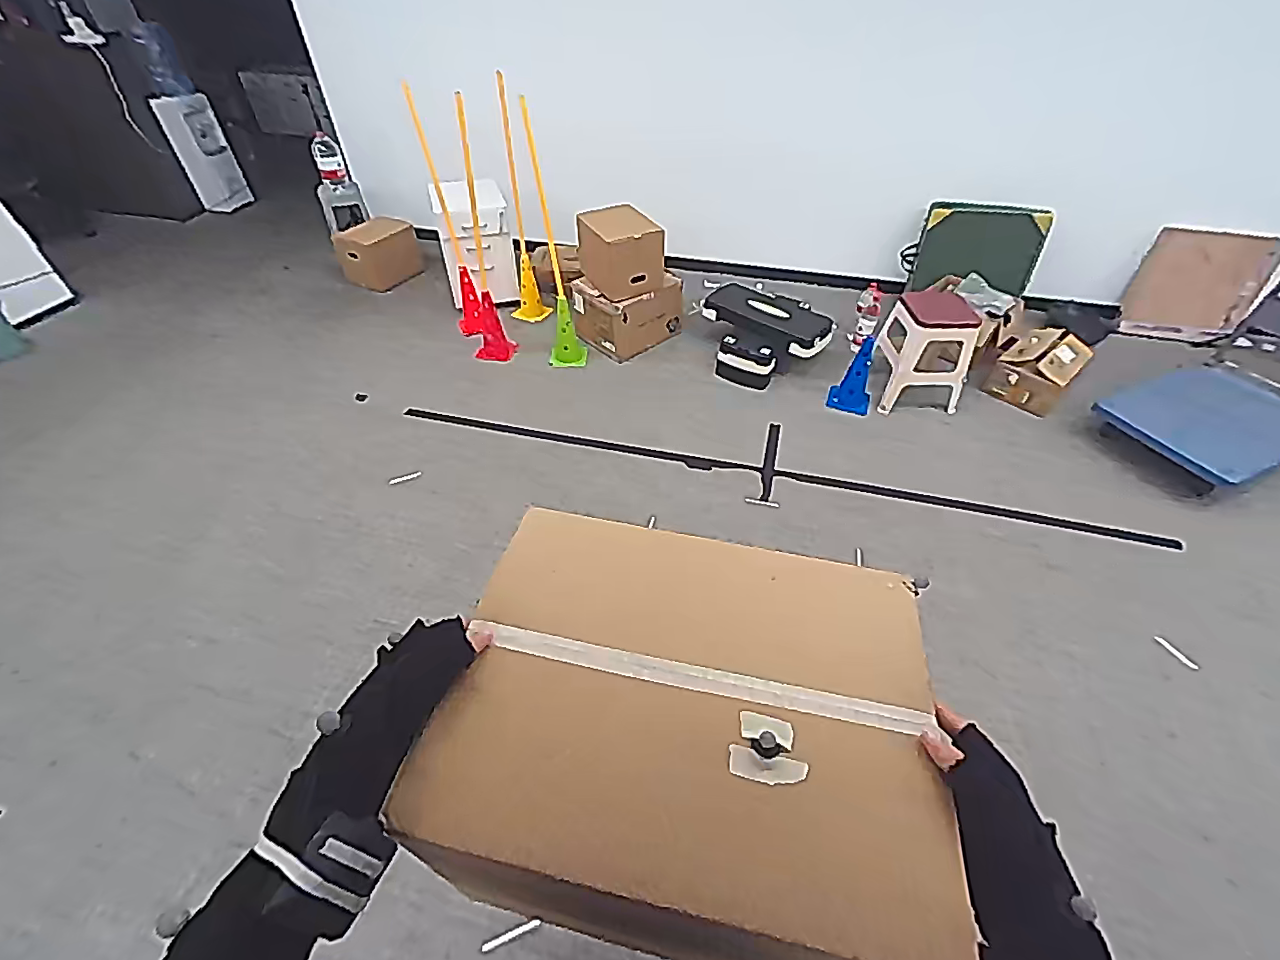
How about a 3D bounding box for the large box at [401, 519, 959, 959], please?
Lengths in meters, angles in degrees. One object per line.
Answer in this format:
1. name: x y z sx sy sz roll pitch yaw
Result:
1. large box: 0.039 0.283 0.582 0.408 0.320 0.320 10 45 8
